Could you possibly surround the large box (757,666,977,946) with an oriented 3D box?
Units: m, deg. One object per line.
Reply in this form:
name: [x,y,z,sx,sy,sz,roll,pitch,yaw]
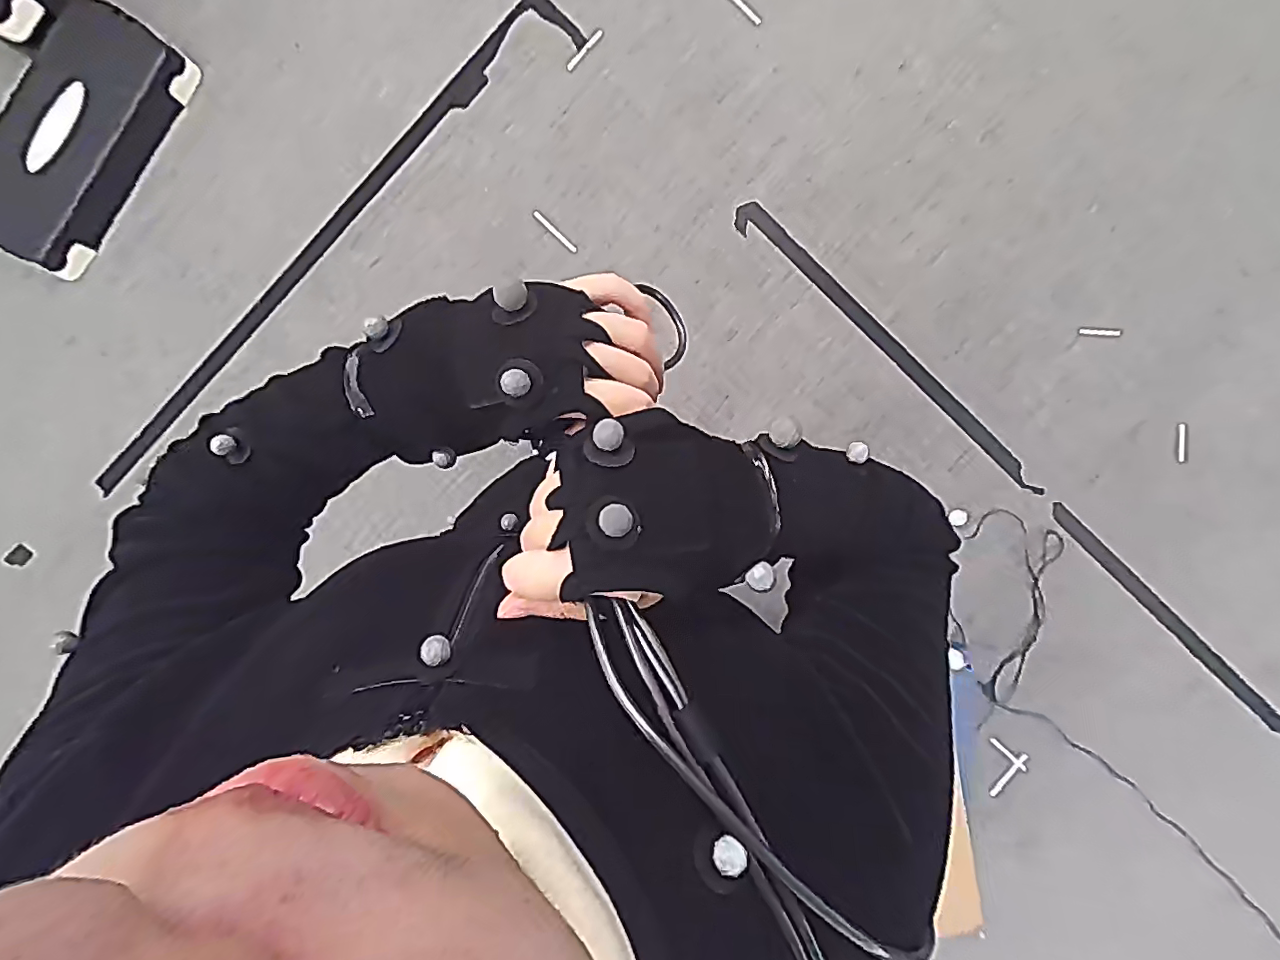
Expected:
large box: [0.477,0.689,1.204,0.320,0.320,0.408,-10,93,-1]
